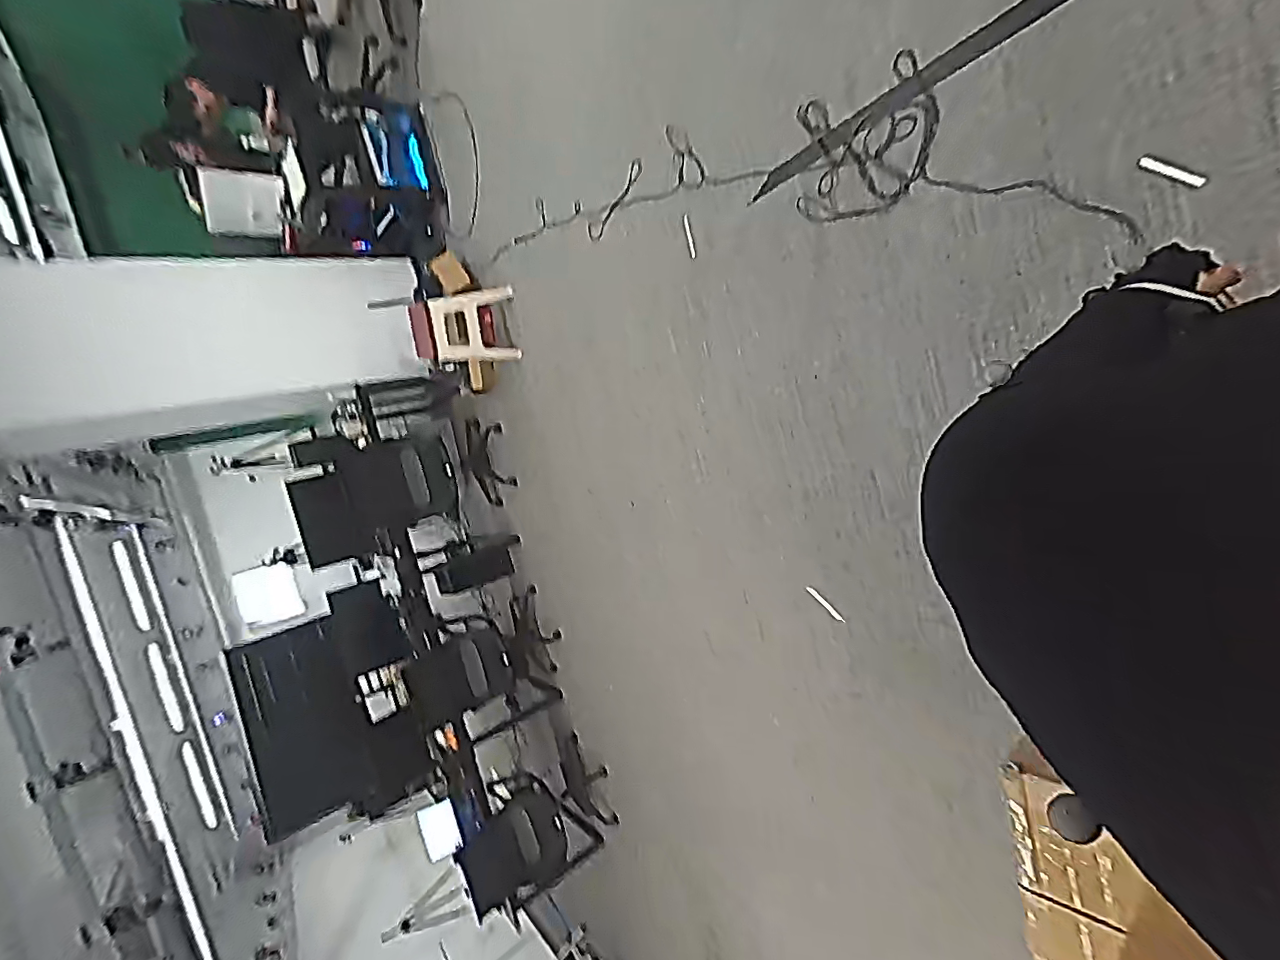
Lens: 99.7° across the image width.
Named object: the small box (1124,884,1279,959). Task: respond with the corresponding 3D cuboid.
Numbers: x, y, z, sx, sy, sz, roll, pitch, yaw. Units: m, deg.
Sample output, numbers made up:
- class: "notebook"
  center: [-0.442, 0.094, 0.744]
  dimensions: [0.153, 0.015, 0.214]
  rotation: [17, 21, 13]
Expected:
- class: "small box"
  center: [0.659, 0.600, 0.588]
  dimensions: [0.179, 0.176, 0.168]
  rotation: [-5, 100, 56]
